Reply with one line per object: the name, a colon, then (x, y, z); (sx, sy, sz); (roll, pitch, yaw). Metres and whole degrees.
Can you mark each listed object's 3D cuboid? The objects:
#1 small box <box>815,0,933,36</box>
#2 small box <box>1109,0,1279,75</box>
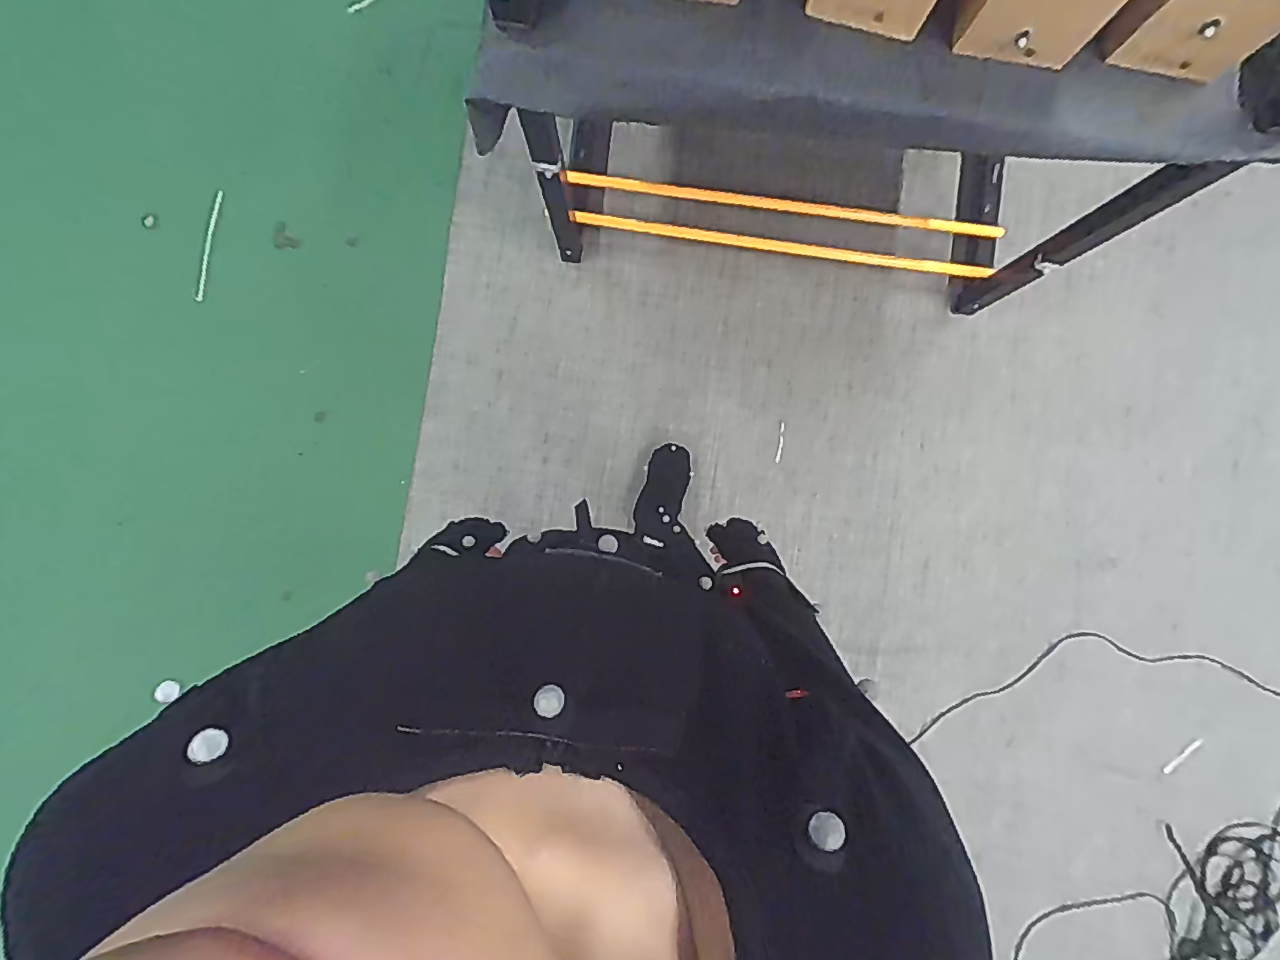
small box: (0.344, -0.753, 0.721); (0.168, 0.176, 0.179); (14, 87, 0)
small box: (0.782, -0.693, 0.723); (0.168, 0.176, 0.179); (10, 87, -1)
